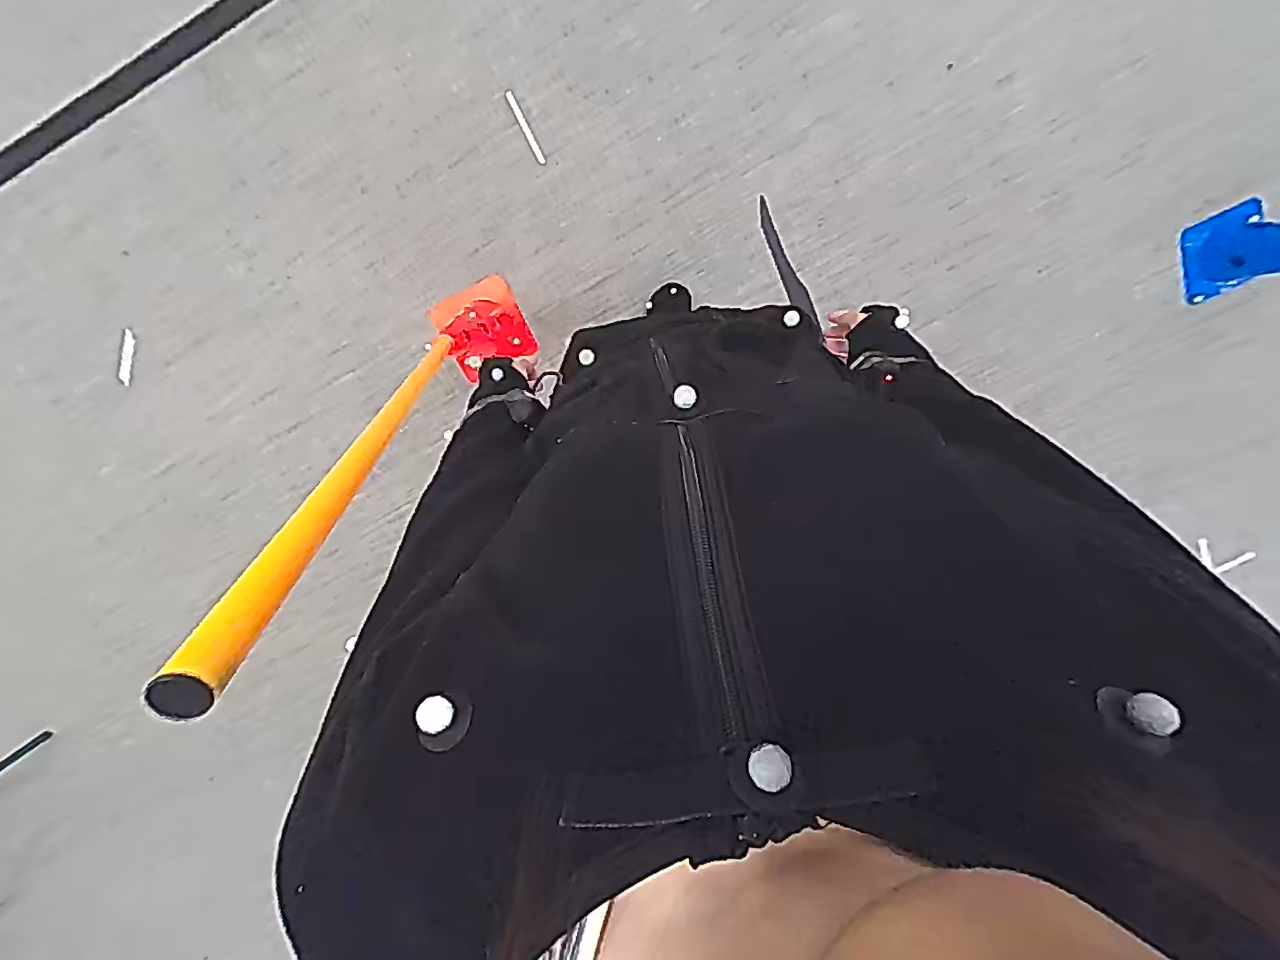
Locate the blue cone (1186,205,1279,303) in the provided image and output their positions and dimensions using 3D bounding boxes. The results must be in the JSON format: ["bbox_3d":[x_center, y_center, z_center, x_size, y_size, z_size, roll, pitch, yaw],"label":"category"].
[{"bbox_3d":[1.470,-0.510,1.194,0.193,0.380,0.192,-23,109,5],"label":"blue cone"}]

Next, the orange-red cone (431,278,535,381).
[{"bbox_3d":[-0.364,-0.301,1.130,0.198,0.360,0.199,-24,108,4],"label":"orange-red cone"}]
